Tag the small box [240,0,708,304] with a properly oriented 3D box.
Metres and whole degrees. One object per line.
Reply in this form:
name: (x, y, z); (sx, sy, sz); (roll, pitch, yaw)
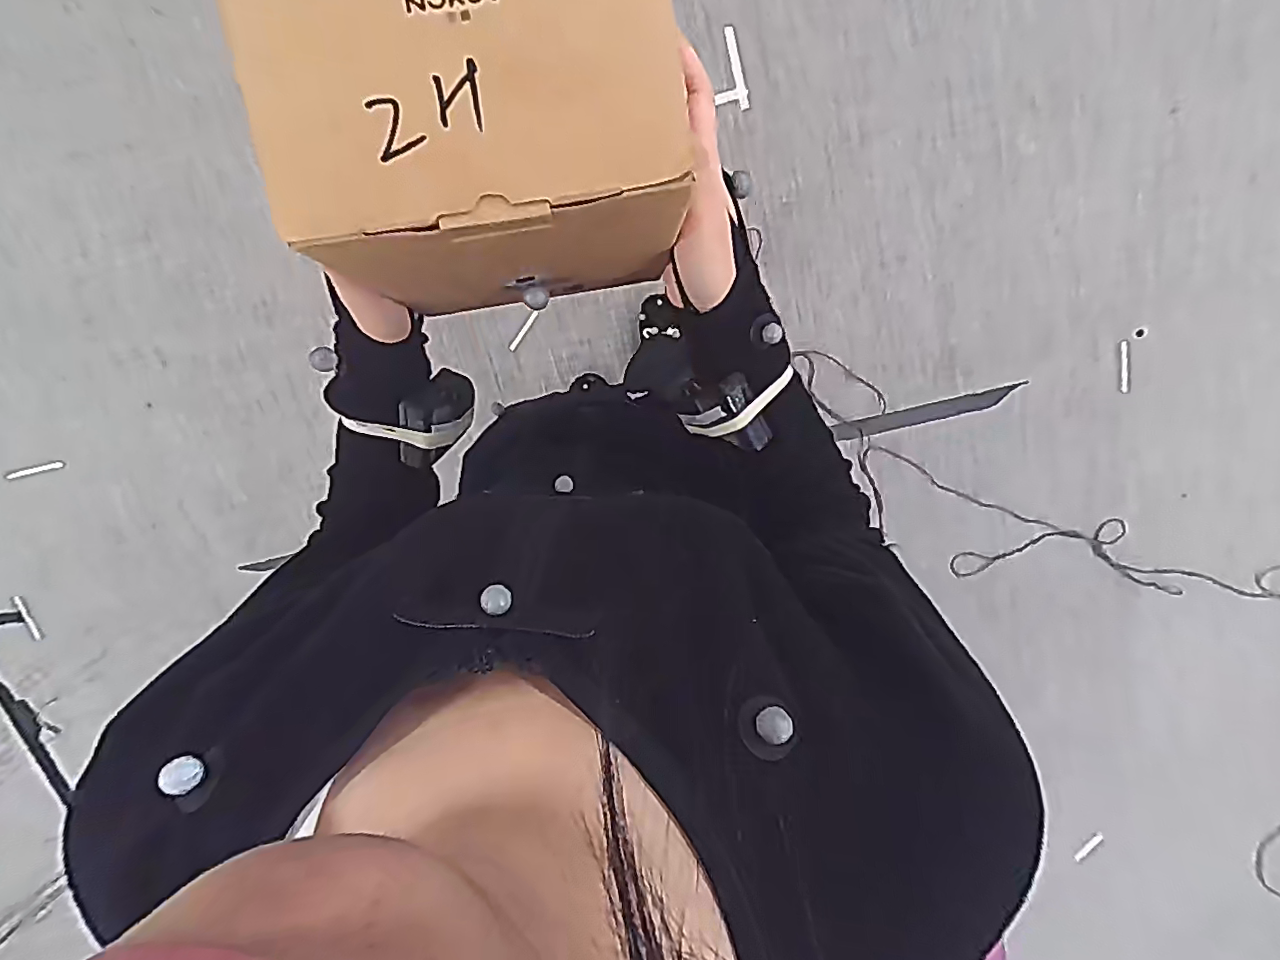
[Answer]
small box: (-0.071, -0.205, 0.278); (0.168, 0.176, 0.179); (-10, 99, -2)
